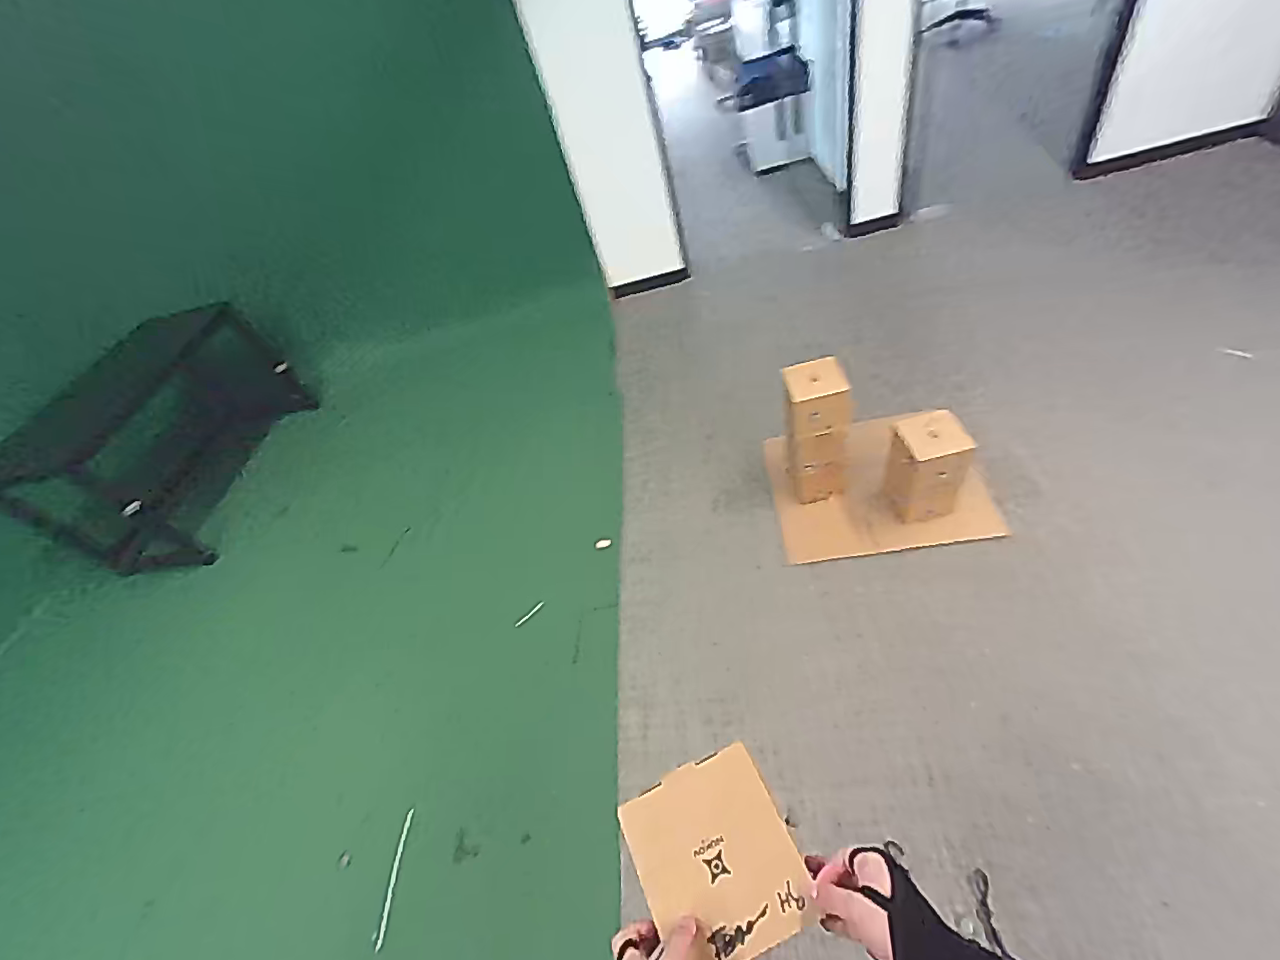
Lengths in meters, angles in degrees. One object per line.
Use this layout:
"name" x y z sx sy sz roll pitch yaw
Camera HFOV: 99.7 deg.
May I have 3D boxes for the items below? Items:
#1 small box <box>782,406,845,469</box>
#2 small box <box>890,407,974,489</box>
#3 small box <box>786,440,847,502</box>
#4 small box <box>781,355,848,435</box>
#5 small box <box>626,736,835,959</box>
"small box" 0.593 -0.156 1.838 0.168 0.176 0.179 -14 46 8
"small box" 0.890 -0.089 1.664 0.168 0.176 0.179 -14 46 6
"small box" 0.635 -0.050 1.955 0.168 0.176 0.179 -16 47 6
"small box" 0.556 -0.263 1.722 0.168 0.176 0.179 -13 46 9
"small box" 0.105 0.433 0.630 0.168 0.176 0.179 -27 52 -1
